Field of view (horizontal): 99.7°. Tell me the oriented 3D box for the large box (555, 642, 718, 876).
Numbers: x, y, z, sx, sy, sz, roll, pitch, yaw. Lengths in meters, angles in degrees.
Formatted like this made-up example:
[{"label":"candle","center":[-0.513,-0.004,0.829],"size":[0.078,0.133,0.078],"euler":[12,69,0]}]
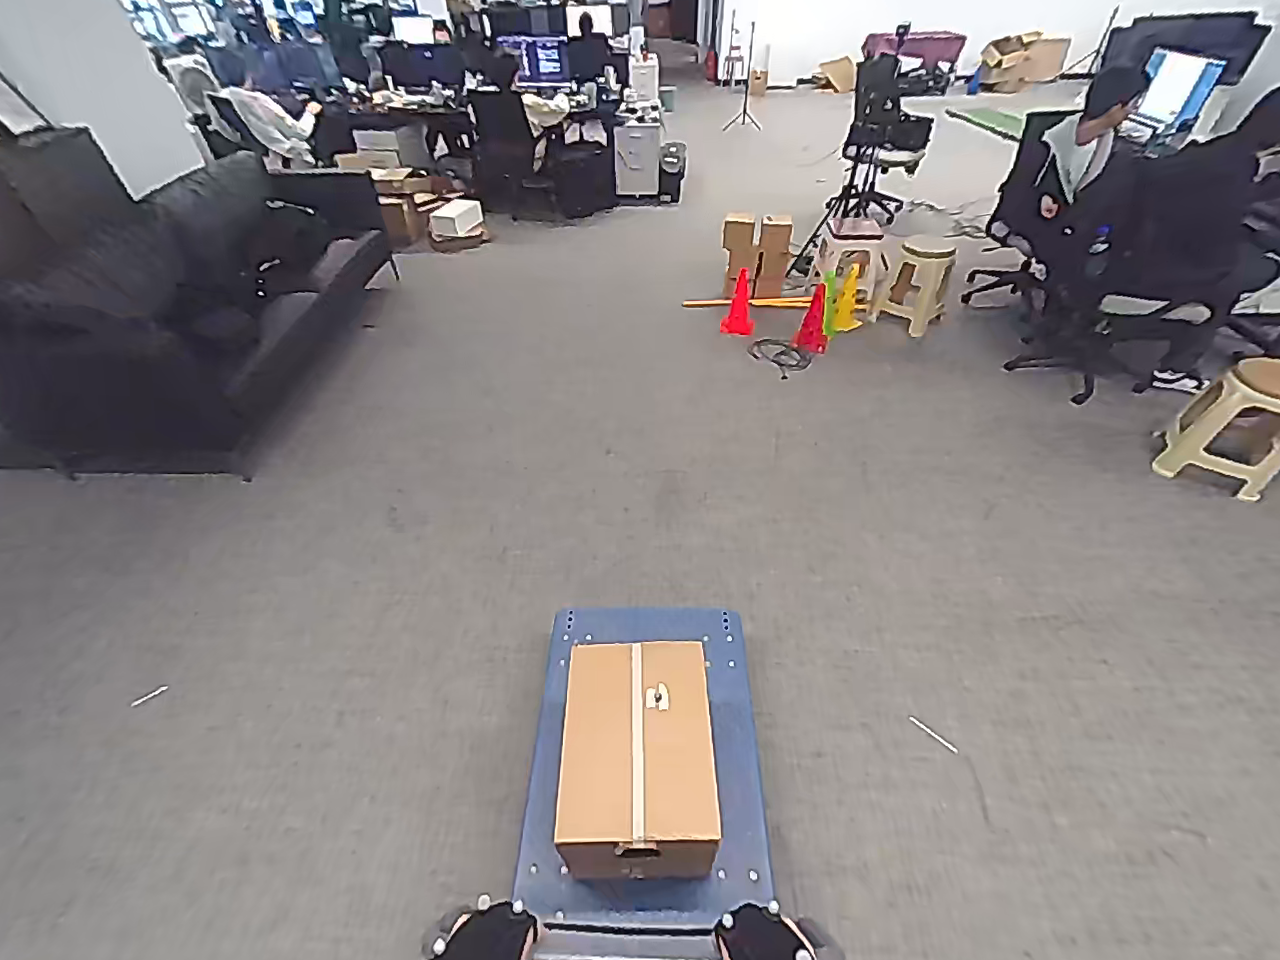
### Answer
[{"label":"large box","center":[-0.005,0.639,1.250],"size":[0.320,0.320,0.408],"euler":[-2,44,1]}]
